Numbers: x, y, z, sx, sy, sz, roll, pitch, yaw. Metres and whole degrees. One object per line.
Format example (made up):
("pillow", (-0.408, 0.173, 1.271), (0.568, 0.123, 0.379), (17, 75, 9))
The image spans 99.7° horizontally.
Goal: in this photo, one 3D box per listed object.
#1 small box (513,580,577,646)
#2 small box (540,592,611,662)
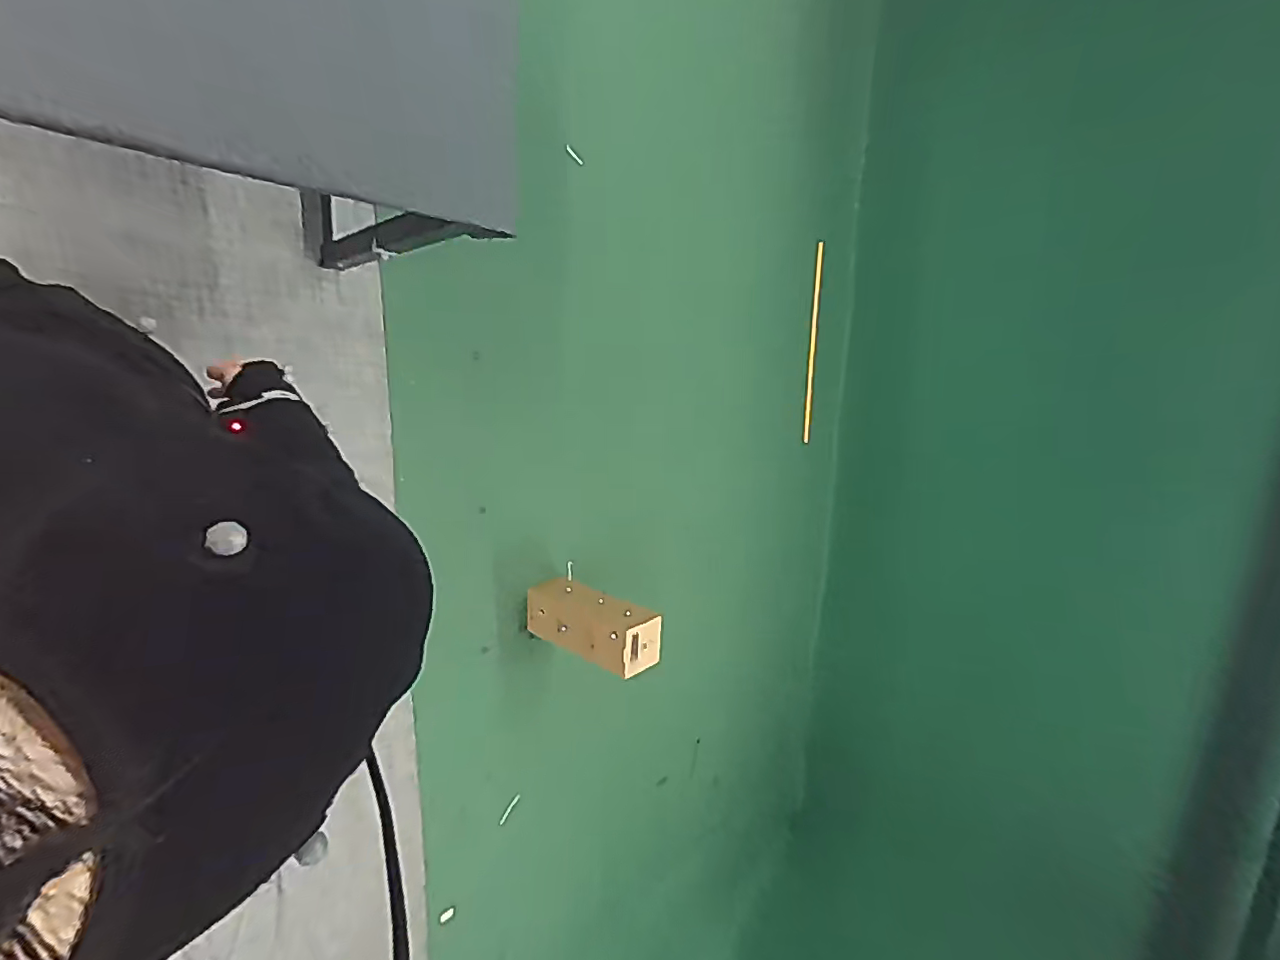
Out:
("small box", (-0.352, 0.484, 1.993), (0.179, 0.176, 0.168), (-10, 106, -49))
("small box", (-0.226, 0.506, 1.889), (0.179, 0.176, 0.168), (-6, 102, -50))
